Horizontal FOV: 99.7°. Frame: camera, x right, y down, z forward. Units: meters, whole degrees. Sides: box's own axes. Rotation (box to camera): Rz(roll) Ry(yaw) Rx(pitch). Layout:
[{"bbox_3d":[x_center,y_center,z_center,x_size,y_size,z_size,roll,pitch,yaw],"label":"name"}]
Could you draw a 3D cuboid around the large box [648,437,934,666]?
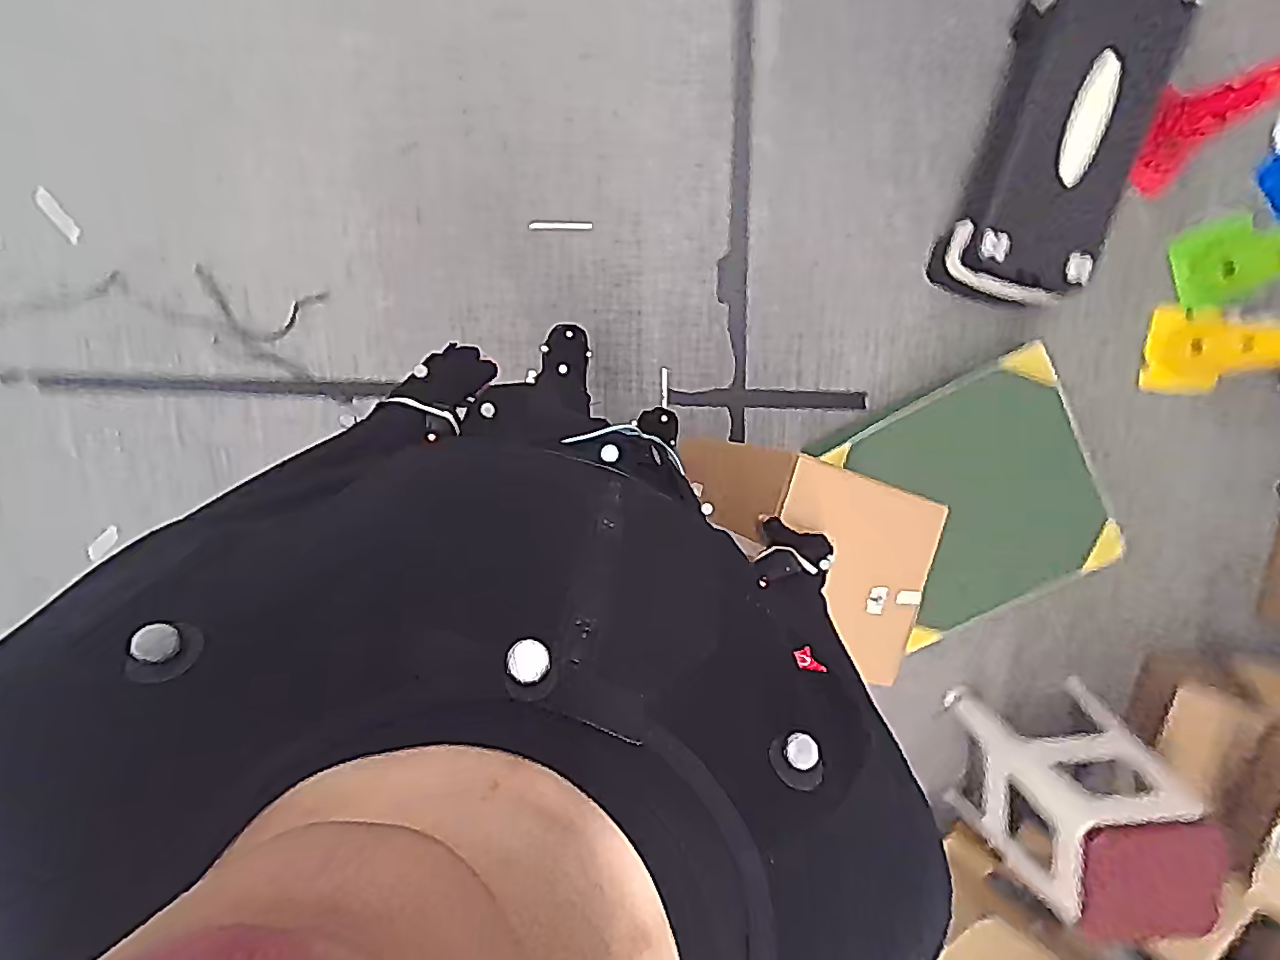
[{"bbox_3d":[0.255,0.112,1.027,0.320,0.408,0.320,16,92,-20],"label":"large box"}]
